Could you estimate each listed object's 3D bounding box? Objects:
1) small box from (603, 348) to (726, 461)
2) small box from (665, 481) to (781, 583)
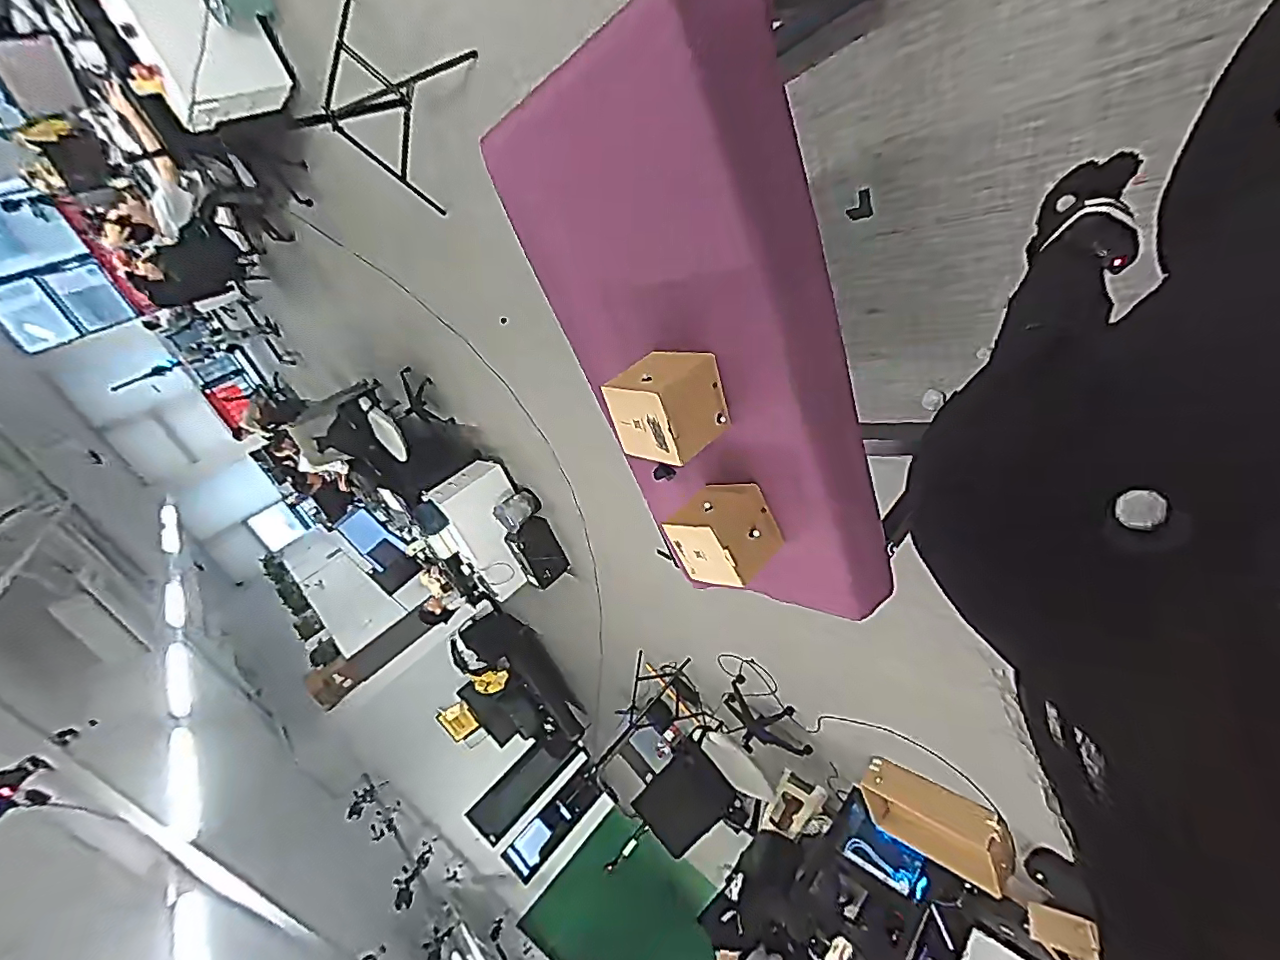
[{"bbox_3d":[0.060,-0.162,1.116,0.179,0.176,0.168,17,136,46],"label":"small box"},{"bbox_3d":[0.198,0.113,1.236,0.179,0.176,0.168,-4,120,55],"label":"small box"}]
